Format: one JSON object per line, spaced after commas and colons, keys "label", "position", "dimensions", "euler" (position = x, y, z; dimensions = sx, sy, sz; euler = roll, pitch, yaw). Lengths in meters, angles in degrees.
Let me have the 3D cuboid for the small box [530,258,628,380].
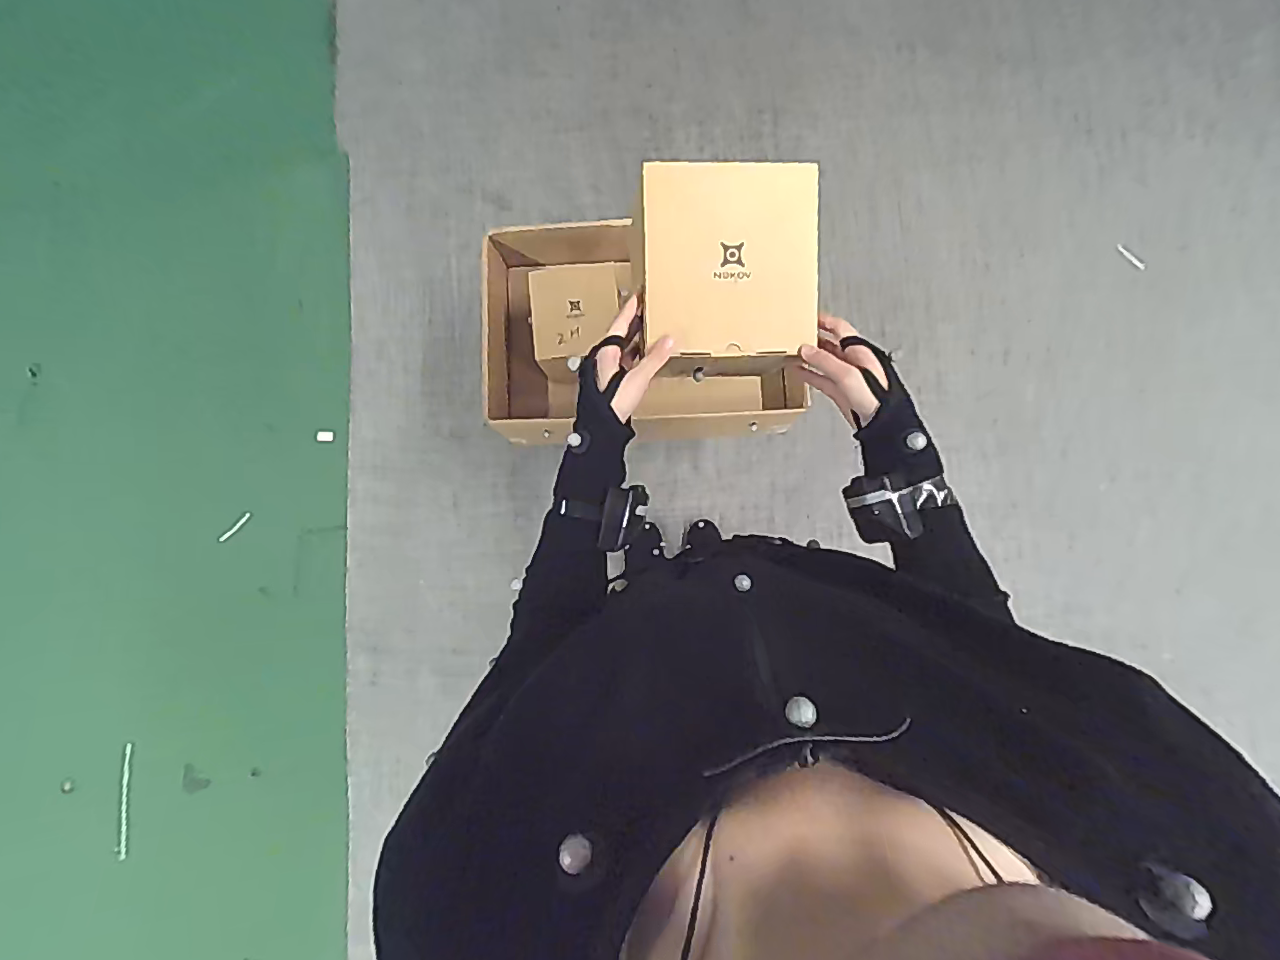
{"label": "small box", "position": [-0.116, -0.312, 1.073], "dimensions": [0.168, 0.176, 0.179], "euler": [-5, 85, 2]}
